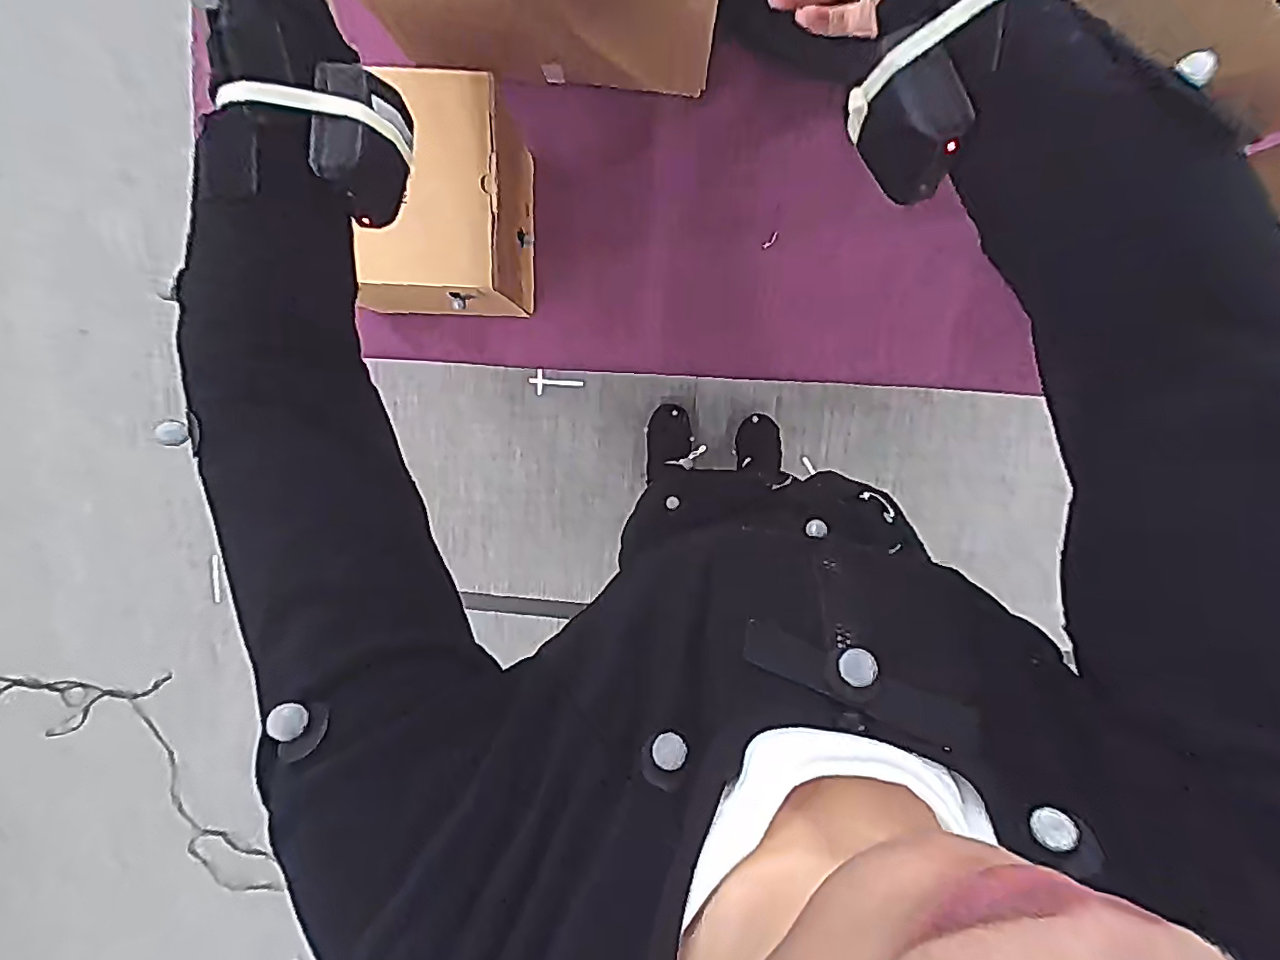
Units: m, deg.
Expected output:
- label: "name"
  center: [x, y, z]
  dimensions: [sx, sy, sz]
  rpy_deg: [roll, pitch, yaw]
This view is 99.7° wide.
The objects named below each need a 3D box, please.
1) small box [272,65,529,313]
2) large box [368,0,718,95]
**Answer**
- label: "small box"
  center: [-0.211, -0.259, 0.522]
  dimensions: [0.179, 0.176, 0.168]
  rpy_deg: [1, 99, -2]
- label: "large box"
  center: [-0.073, -0.584, 0.391]
  dimensions: [0.320, 0.320, 0.408]
  rpy_deg: [6, 103, 2]
